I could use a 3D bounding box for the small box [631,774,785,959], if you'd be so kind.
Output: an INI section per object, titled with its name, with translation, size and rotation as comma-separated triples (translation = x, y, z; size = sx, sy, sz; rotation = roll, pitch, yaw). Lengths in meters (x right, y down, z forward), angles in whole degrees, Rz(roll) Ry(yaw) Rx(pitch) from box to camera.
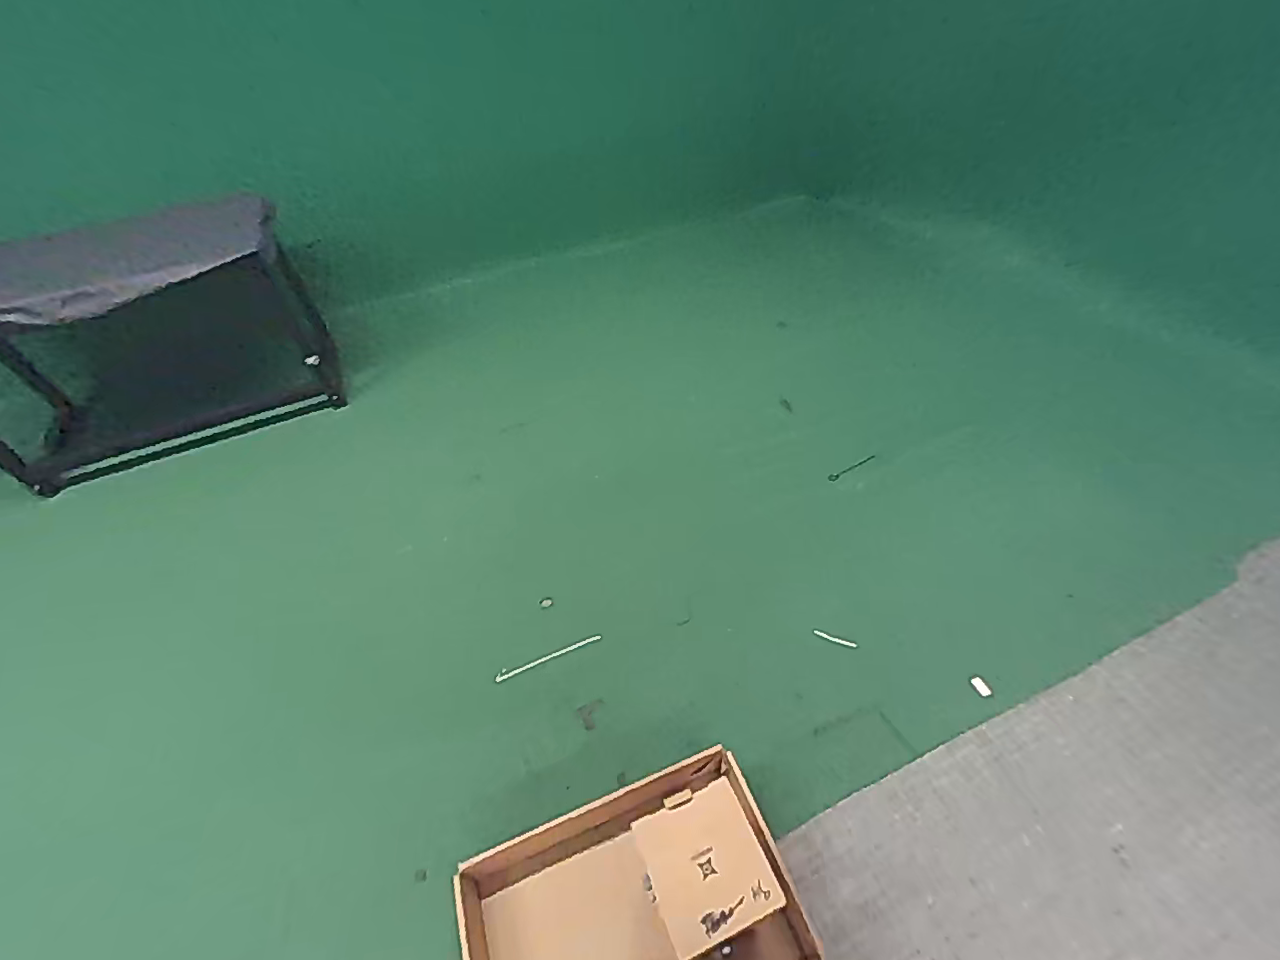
[small box]
translation = 0.096, 0.593, 0.825
size = 0.168, 0.176, 0.179
rotation = -20, 48, -12
